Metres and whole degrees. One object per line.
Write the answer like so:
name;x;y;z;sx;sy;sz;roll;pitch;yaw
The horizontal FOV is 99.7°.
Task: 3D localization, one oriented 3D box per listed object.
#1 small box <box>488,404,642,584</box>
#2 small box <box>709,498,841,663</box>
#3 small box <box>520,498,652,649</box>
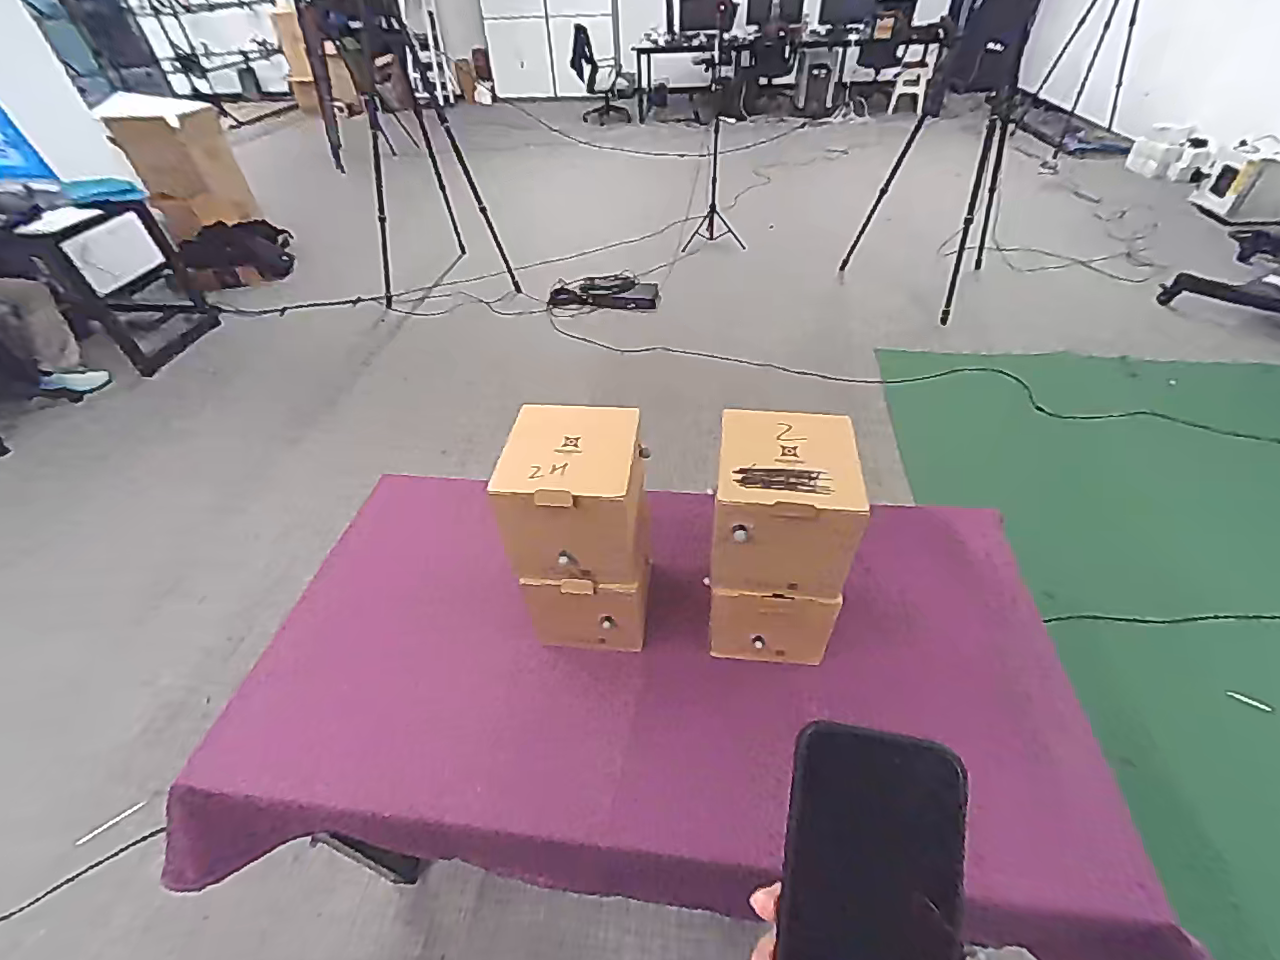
small box;-0.088;0.017;0.738;0.168;0.176;0.179;3;44;6
small box;0.192;0.151;0.819;0.168;0.176;0.179;3;45;7
small box;-0.072;0.143;0.844;0.168;0.176;0.179;3;44;6
